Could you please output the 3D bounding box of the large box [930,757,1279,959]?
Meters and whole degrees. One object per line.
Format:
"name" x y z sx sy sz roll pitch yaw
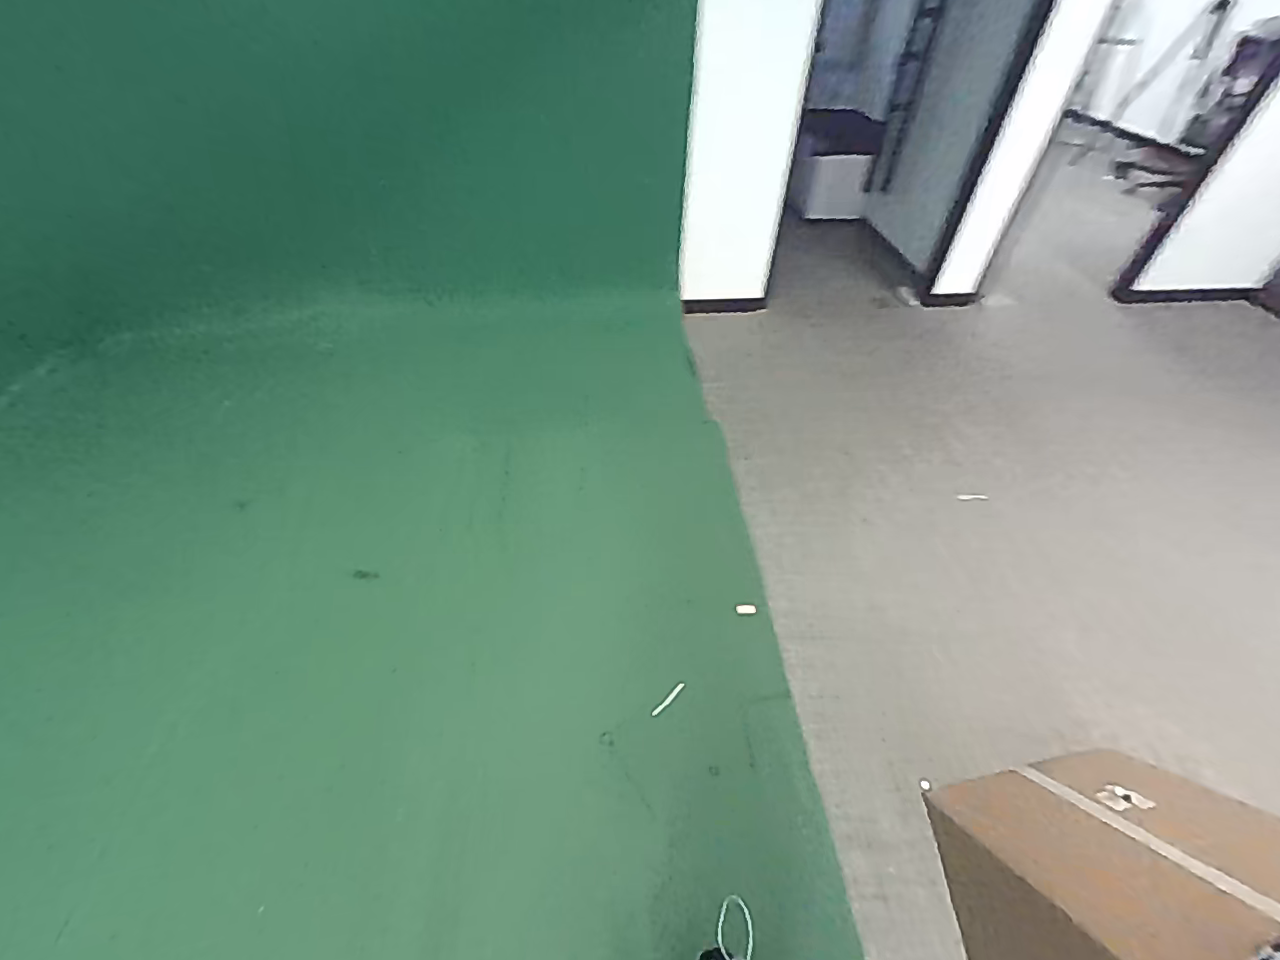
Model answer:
"large box" 0.627 0.581 0.621 0.320 0.408 0.320 -11 82 -2
